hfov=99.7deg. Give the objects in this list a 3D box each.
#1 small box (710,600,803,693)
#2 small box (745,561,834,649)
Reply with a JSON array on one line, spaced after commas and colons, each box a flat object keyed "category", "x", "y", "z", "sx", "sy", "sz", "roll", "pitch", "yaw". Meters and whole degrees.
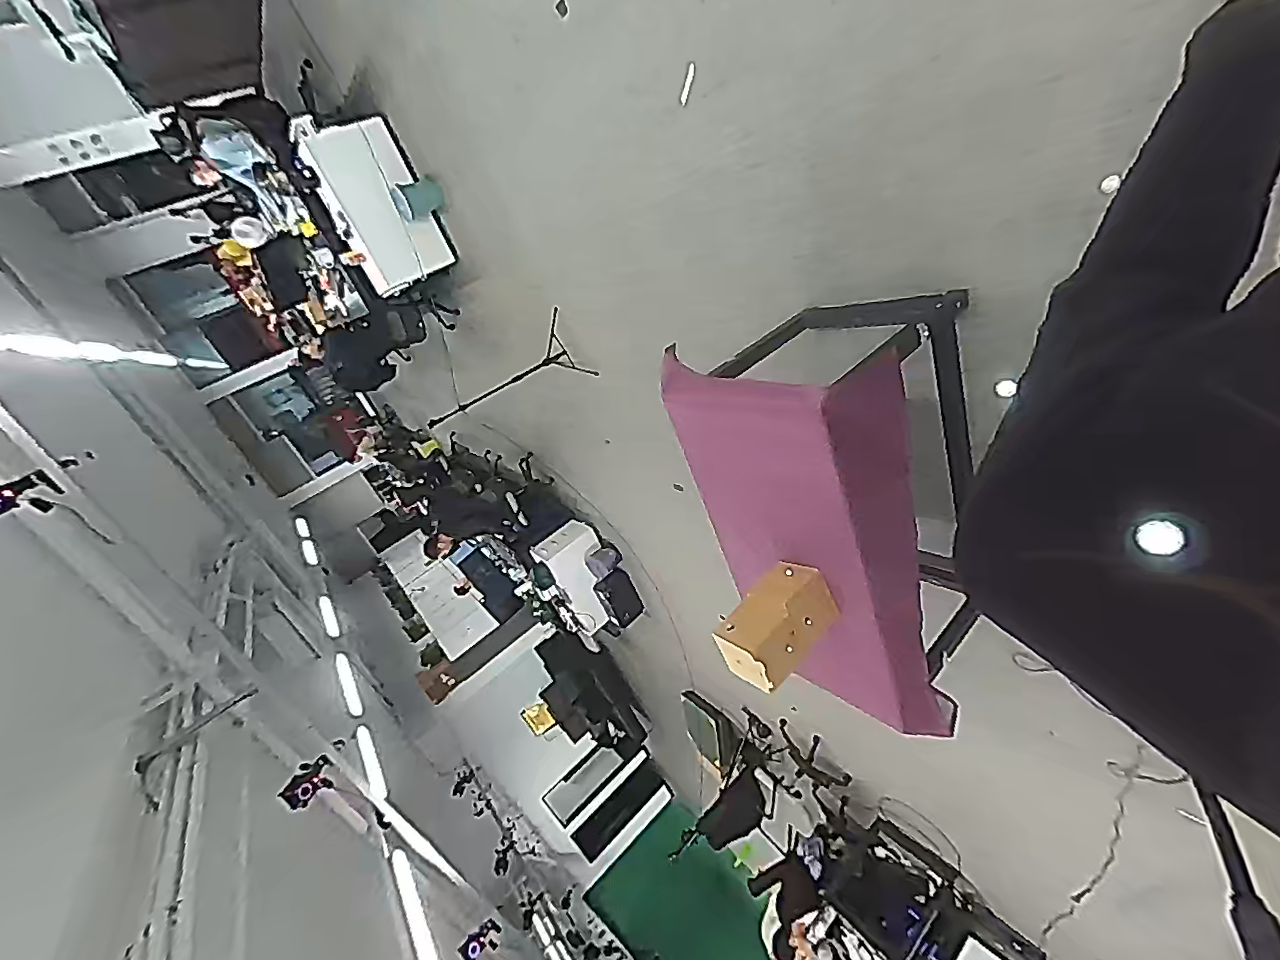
[{"category": "small box", "x": 0.344, "y": 0.481, "z": 1.594, "sx": 0.179, "sy": 0.176, "sz": 0.168, "roll": 10, "pitch": 132, "yaw": 57}, {"category": "small box", "x": 0.460, "y": 0.375, "z": 1.648, "sx": 0.168, "sy": 0.176, "sz": 0.179, "roll": 1, "pitch": 123, "yaw": 60}]
